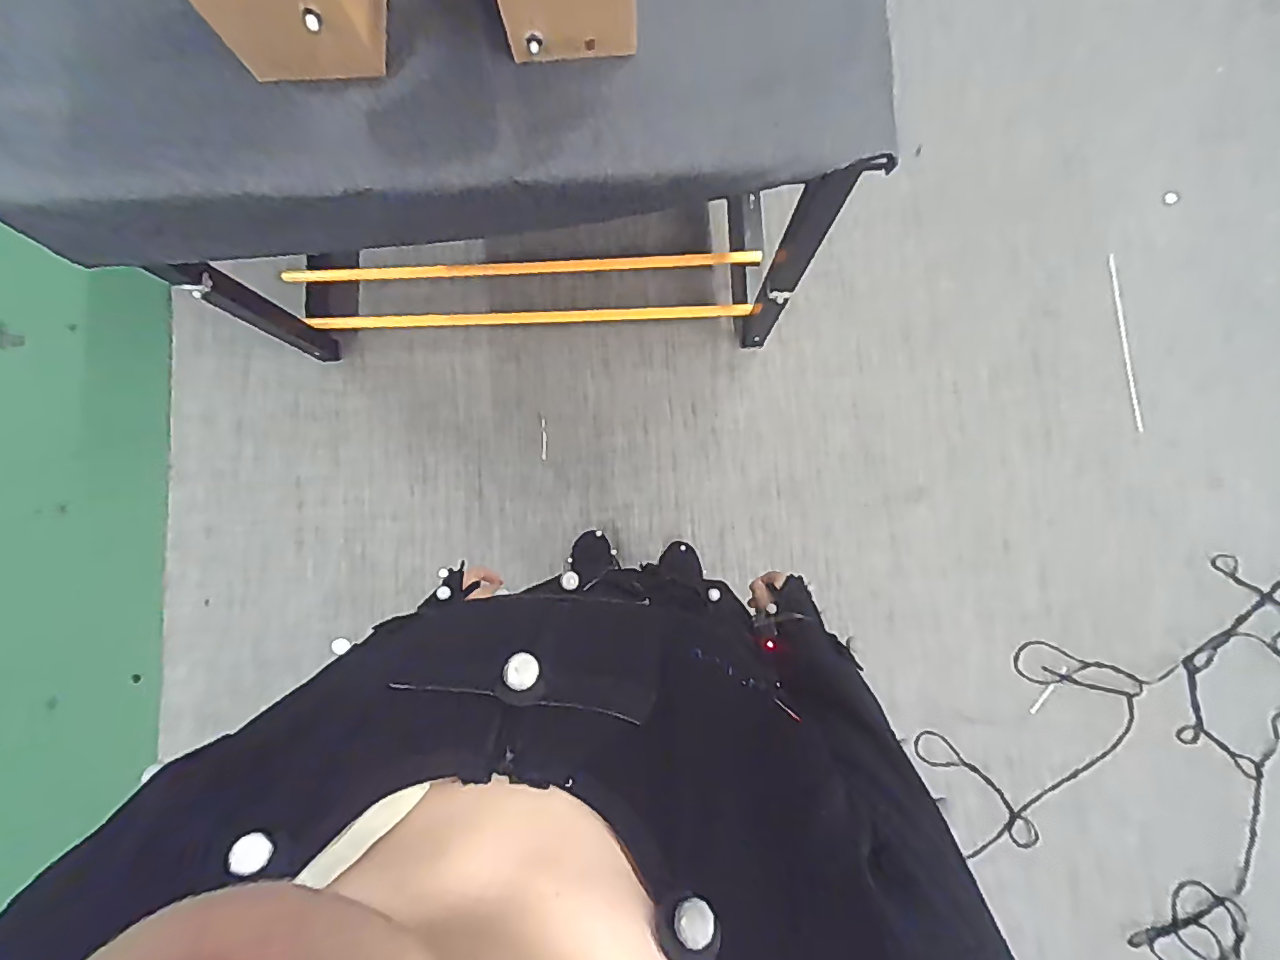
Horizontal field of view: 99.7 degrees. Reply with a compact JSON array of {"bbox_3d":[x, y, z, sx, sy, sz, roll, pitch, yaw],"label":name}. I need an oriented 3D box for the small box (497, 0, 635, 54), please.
[{"bbox_3d":[-0.094,-0.653,0.649,0.168,0.176,0.179,-4,83,0],"label":"small box"}]

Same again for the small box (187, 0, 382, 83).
[{"bbox_3d":[-0.430,-0.622,0.651,0.179,0.176,0.168,-3,83,1],"label":"small box"}]
